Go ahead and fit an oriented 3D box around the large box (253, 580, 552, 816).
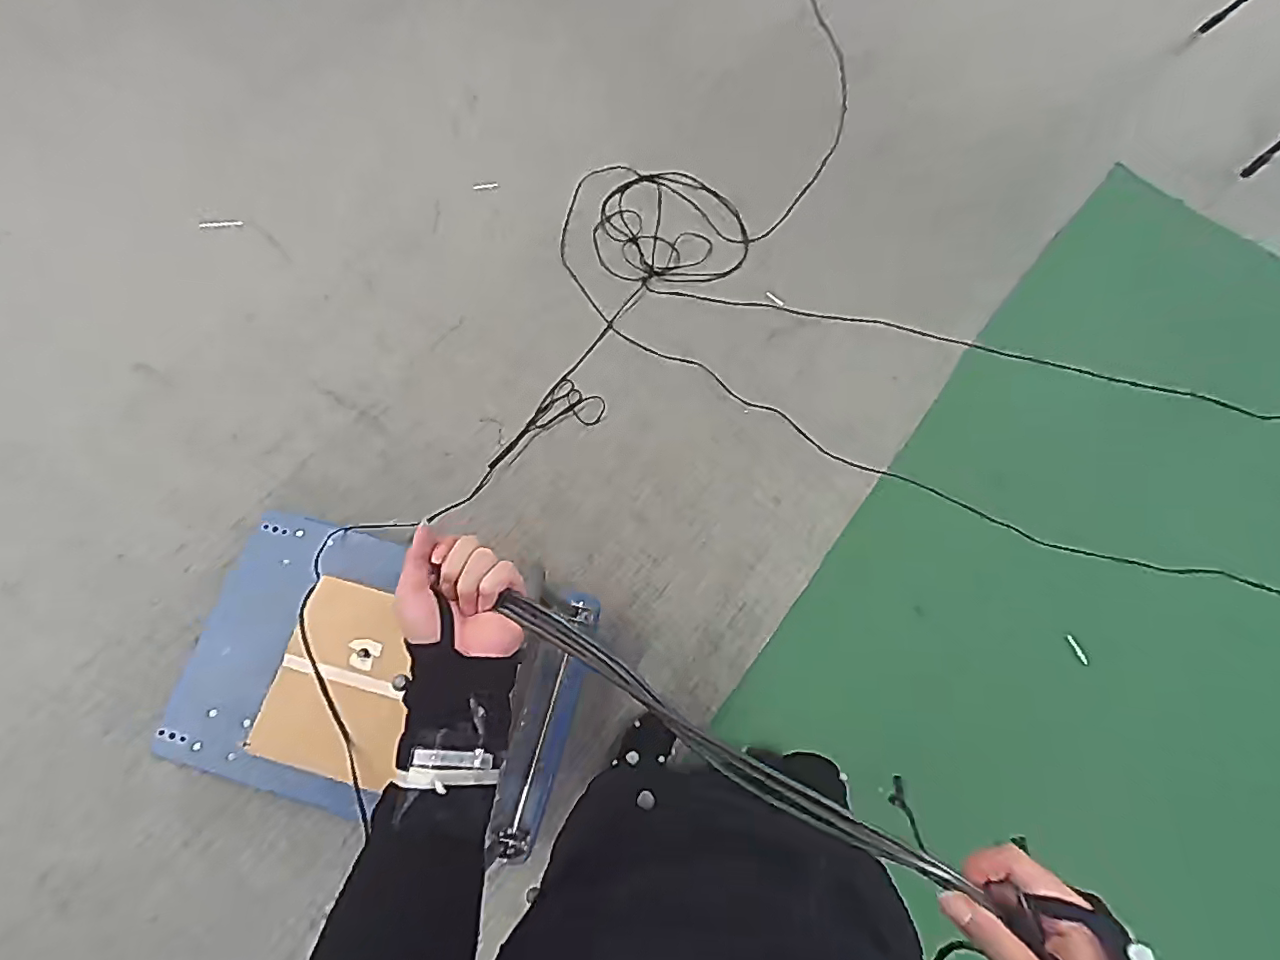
[{"bbox_3d":[-0.427,0.413,1.085,0.408,0.320,0.320,15,72,3],"label":"large box"}]
